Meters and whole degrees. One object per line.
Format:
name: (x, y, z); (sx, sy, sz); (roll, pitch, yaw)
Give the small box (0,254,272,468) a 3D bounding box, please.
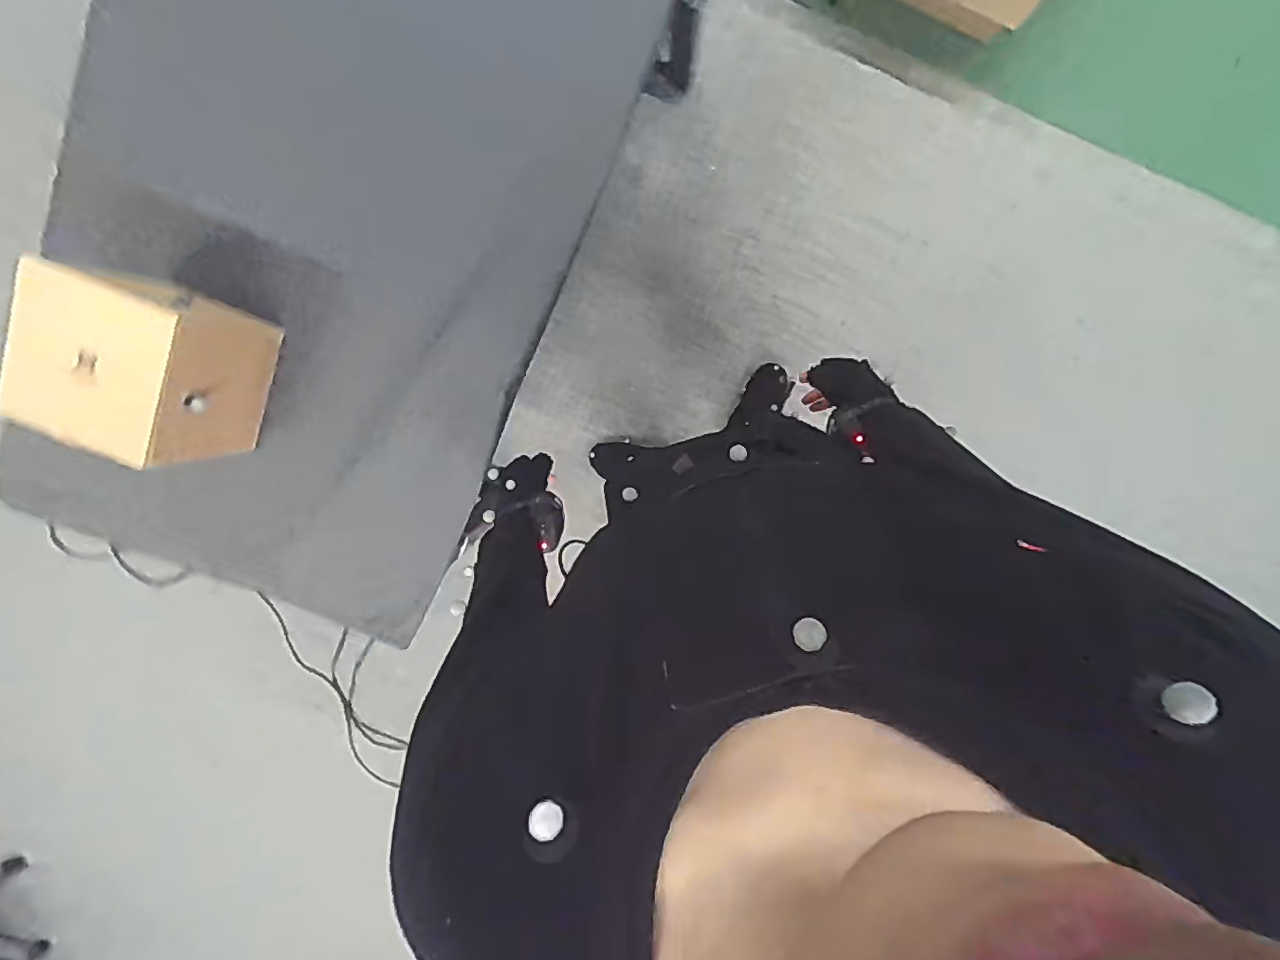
small box: (-0.581, -0.137, 0.642); (0.168, 0.176, 0.179); (21, 102, -3)
